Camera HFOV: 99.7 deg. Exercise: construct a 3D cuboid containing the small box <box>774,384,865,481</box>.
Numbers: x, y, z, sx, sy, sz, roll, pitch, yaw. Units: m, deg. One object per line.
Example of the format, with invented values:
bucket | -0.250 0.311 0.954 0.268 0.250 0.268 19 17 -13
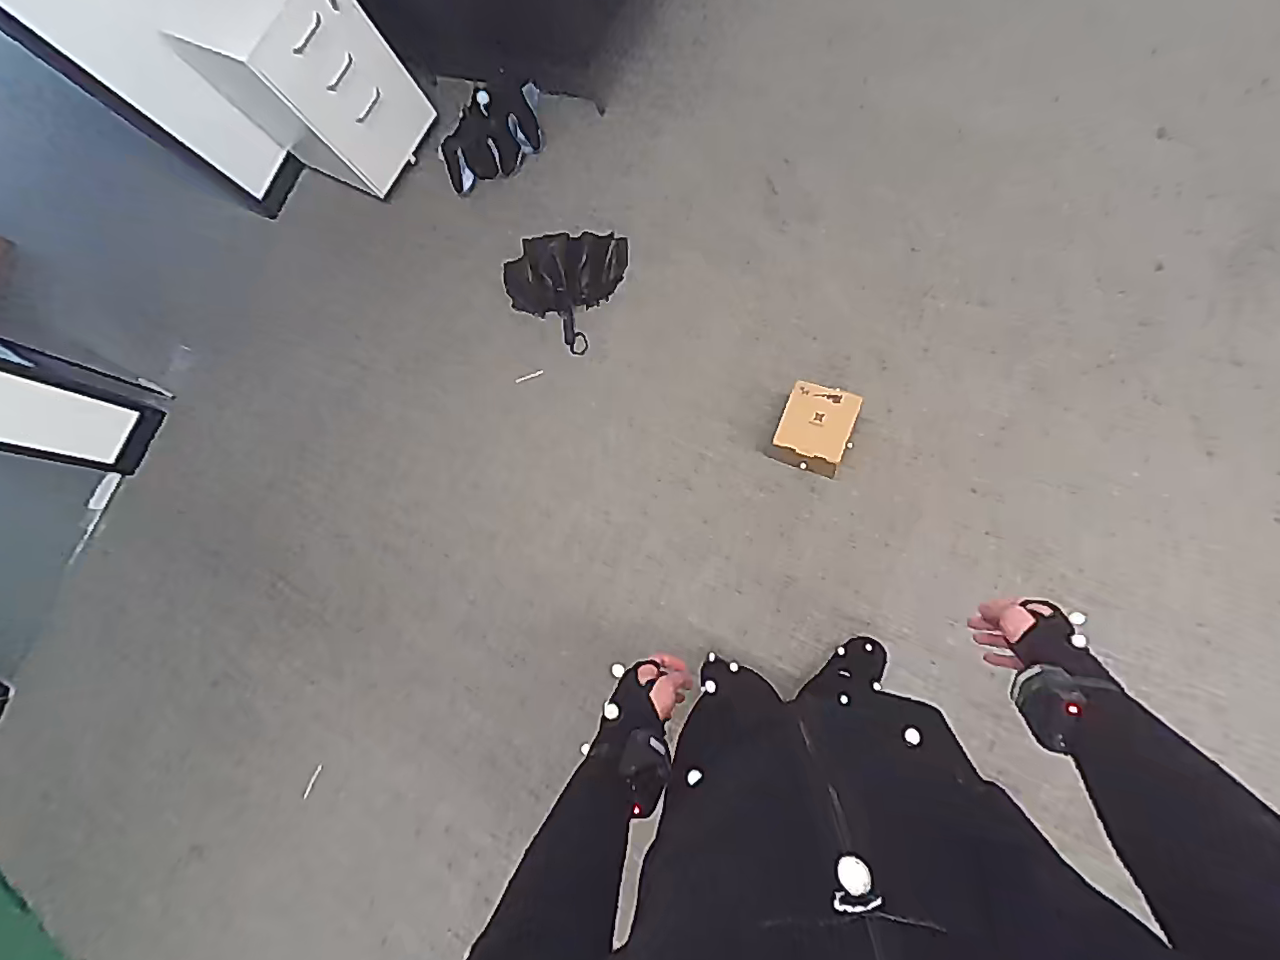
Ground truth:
small box | 0.453 -0.113 1.369 0.168 0.176 0.179 21 84 21
